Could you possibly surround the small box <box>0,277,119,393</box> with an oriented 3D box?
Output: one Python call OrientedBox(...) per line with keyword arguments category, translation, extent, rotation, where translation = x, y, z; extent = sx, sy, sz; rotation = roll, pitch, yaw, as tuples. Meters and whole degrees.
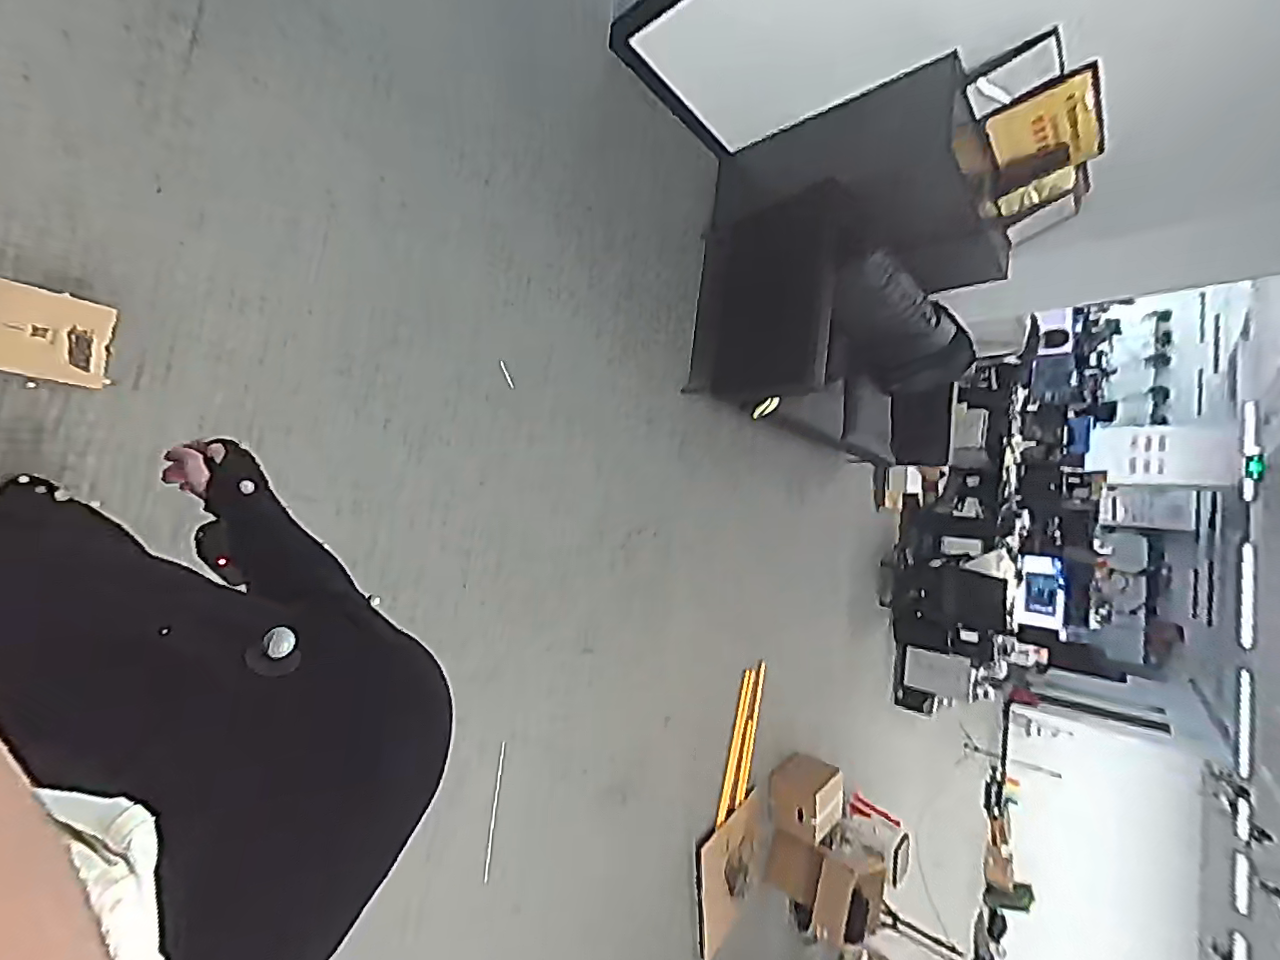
OrientedBox(category="small box", translation=(-1.158, -0.272, 1.053), extent=(0.179, 0.176, 0.168), rotation=(13, 82, -46))
